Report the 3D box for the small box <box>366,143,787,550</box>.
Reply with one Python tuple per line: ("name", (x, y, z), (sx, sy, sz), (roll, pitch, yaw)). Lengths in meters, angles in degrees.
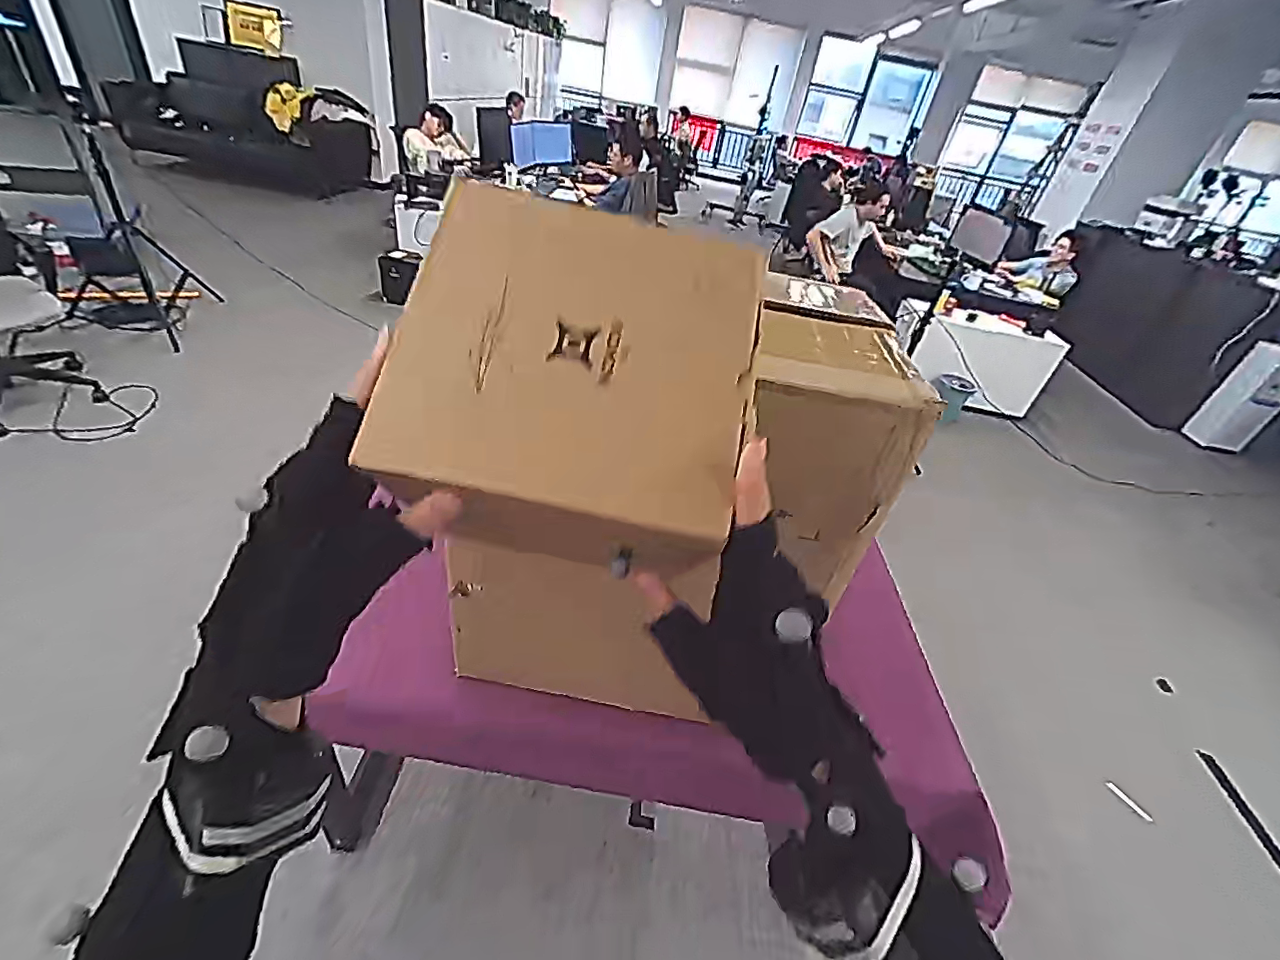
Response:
("small box", (-0.029, -0.058, 0.336), (0.179, 0.176, 0.168), (11, 73, -3))
